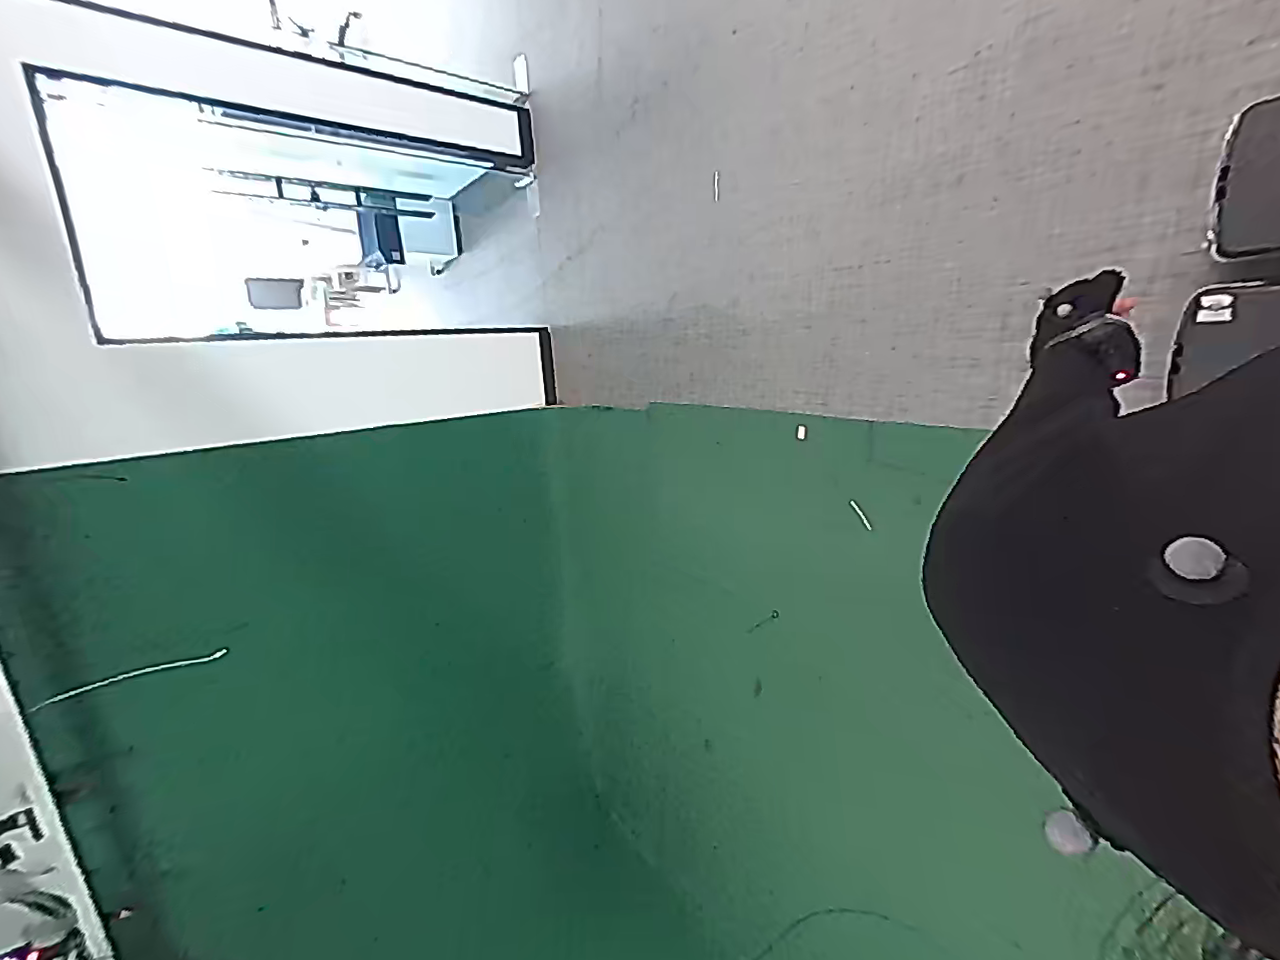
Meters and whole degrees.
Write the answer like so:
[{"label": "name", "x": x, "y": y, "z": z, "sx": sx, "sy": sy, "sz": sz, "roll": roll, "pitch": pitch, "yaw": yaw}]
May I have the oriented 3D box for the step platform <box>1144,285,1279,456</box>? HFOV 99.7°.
[{"label": "step platform", "x": 1.202, "y": -0.160, "z": 0.772, "sx": 0.684, "sy": 0.204, "sz": 0.286, "roll": 13, "pitch": 111, "yaw": 49}]
